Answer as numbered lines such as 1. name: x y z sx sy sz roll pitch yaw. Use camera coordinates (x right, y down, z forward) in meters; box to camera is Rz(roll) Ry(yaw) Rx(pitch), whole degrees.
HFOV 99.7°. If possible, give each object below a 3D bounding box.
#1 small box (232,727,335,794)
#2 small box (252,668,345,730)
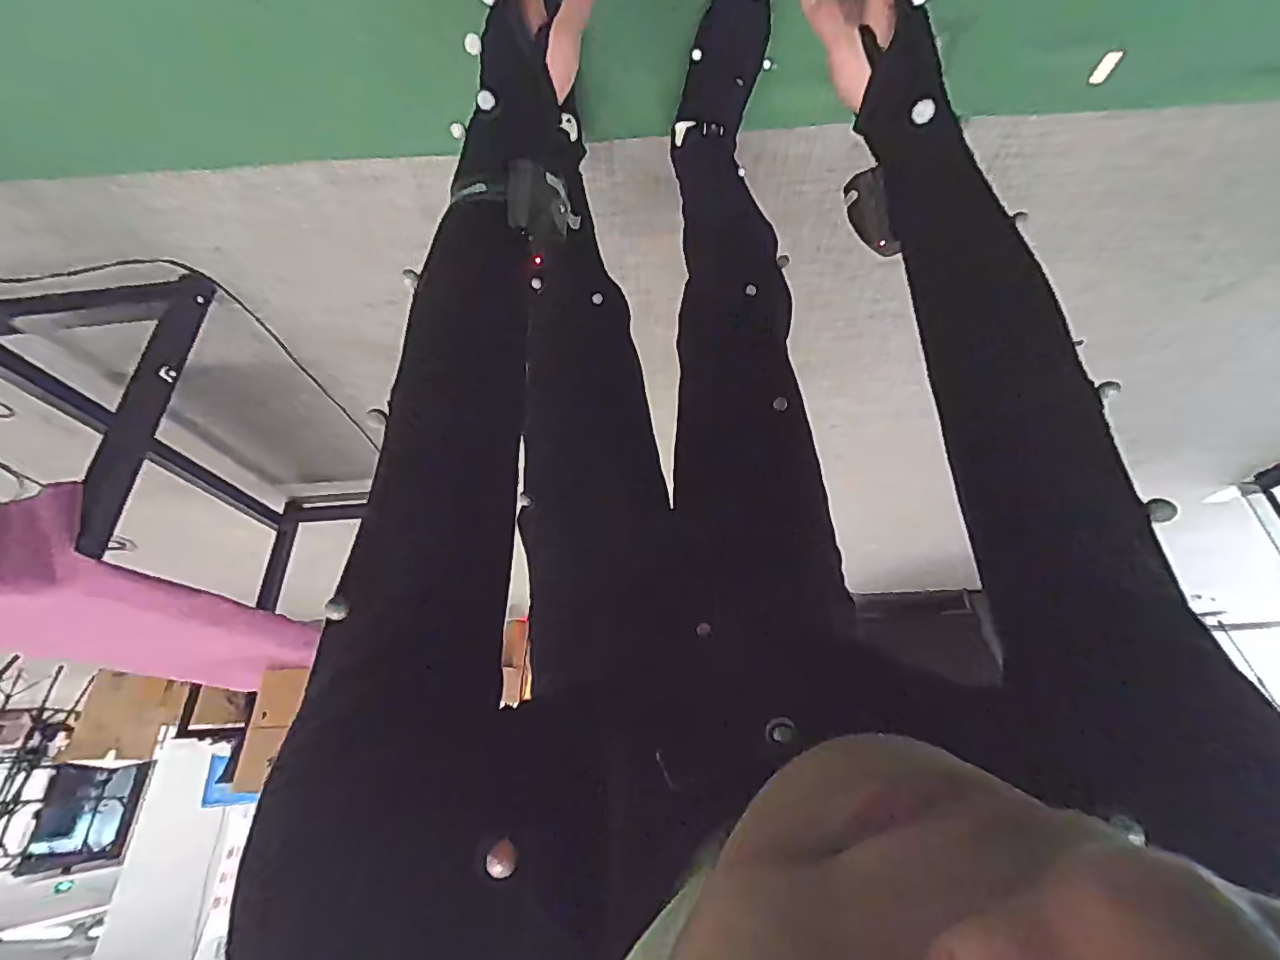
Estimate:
1. small box: -1.042 0.826 1.598 0.179 0.176 0.168 -4 153 3
2. small box: -1.044 0.681 1.675 0.179 0.176 0.168 -3 152 4
